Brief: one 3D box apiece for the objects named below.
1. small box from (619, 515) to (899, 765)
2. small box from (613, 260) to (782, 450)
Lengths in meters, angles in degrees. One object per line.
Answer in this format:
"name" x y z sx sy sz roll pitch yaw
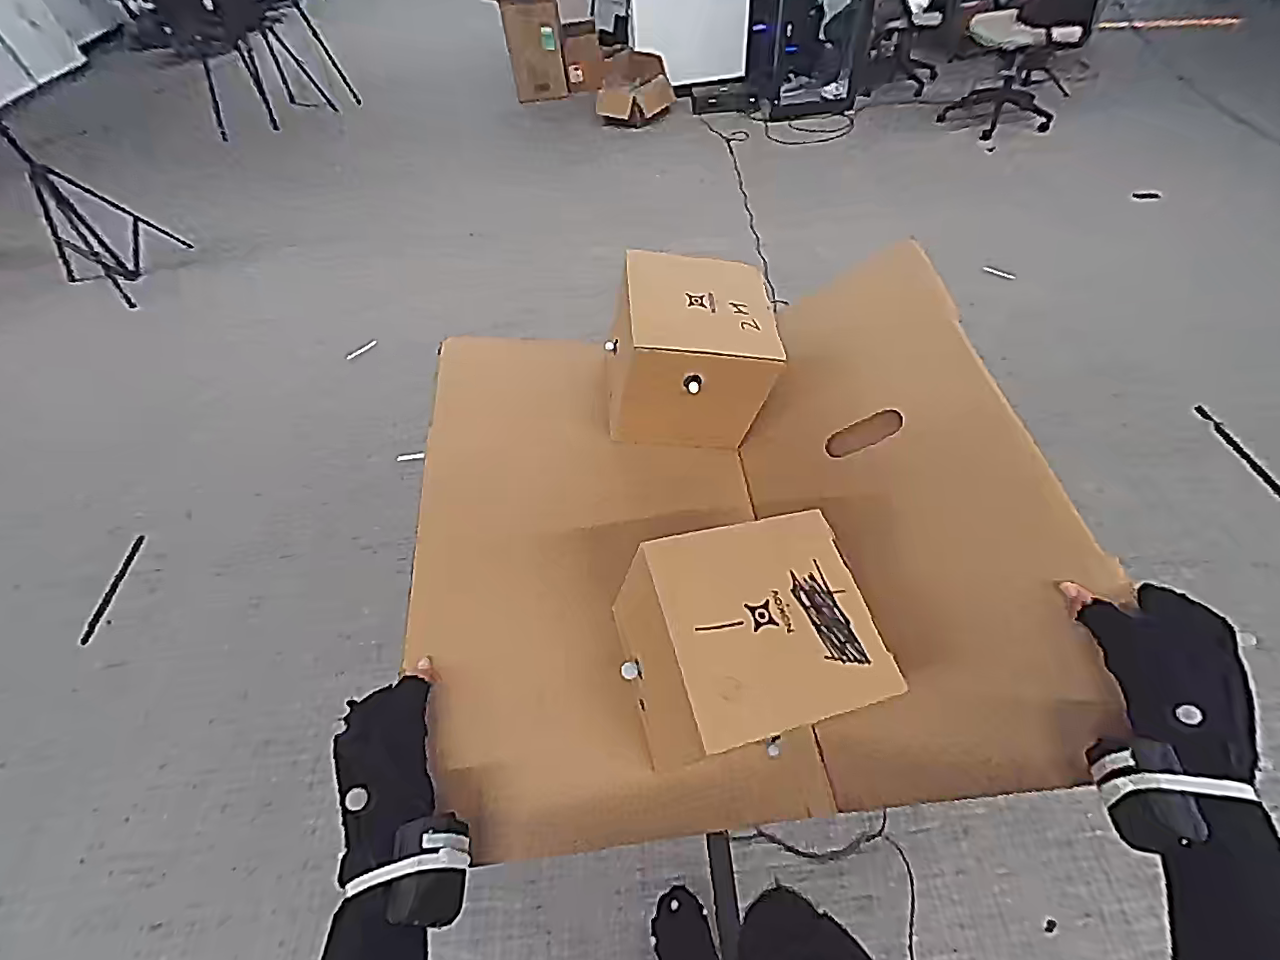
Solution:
"small box" 0.091 0.153 0.509 0.179 0.176 0.168 -9 60 -17
"small box" 0.058 -0.153 0.699 0.179 0.176 0.168 3 58 -11
